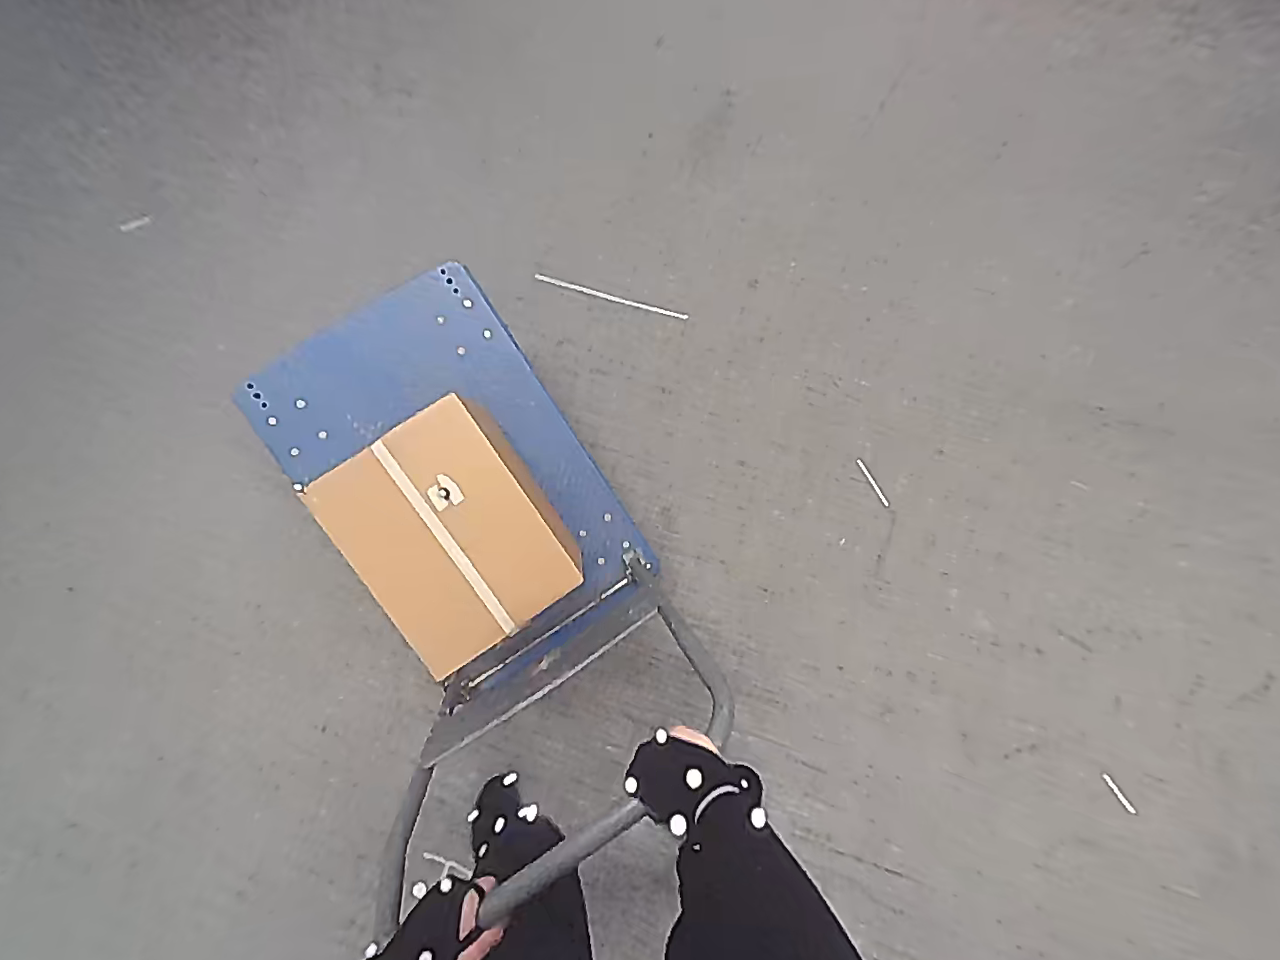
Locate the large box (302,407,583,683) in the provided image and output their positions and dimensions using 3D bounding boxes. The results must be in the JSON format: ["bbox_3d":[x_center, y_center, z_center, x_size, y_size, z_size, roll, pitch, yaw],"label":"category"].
[{"bbox_3d":[-0.353,0.111,1.092,0.320,0.320,0.408,-35,96,-4],"label":"large box"}]
